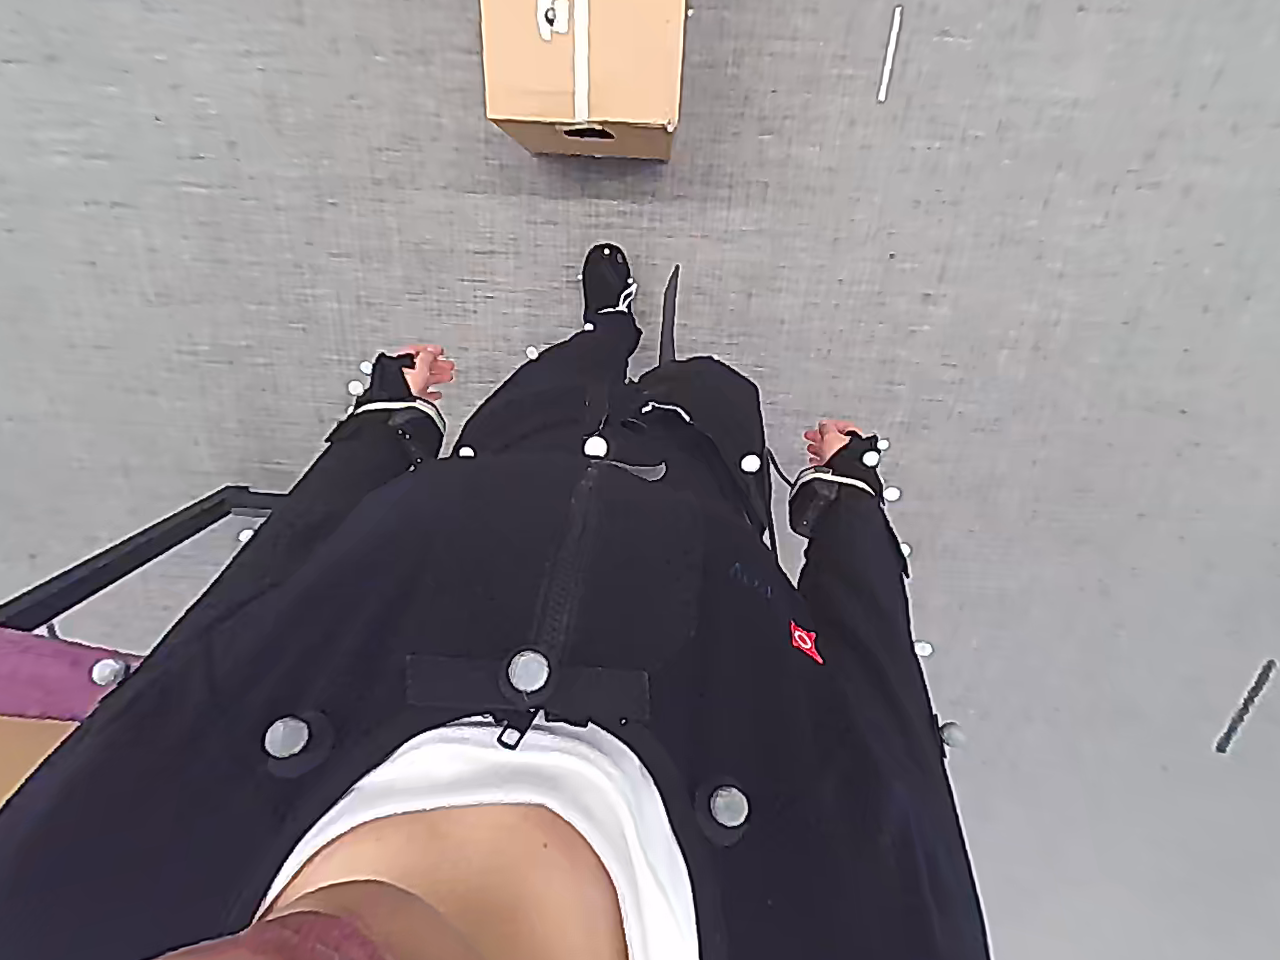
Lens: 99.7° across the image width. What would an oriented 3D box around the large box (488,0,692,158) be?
[{"bbox_3d":[-0.072,-0.812,0.932,0.320,0.320,0.408,3,113,2],"label":"large box"}]
